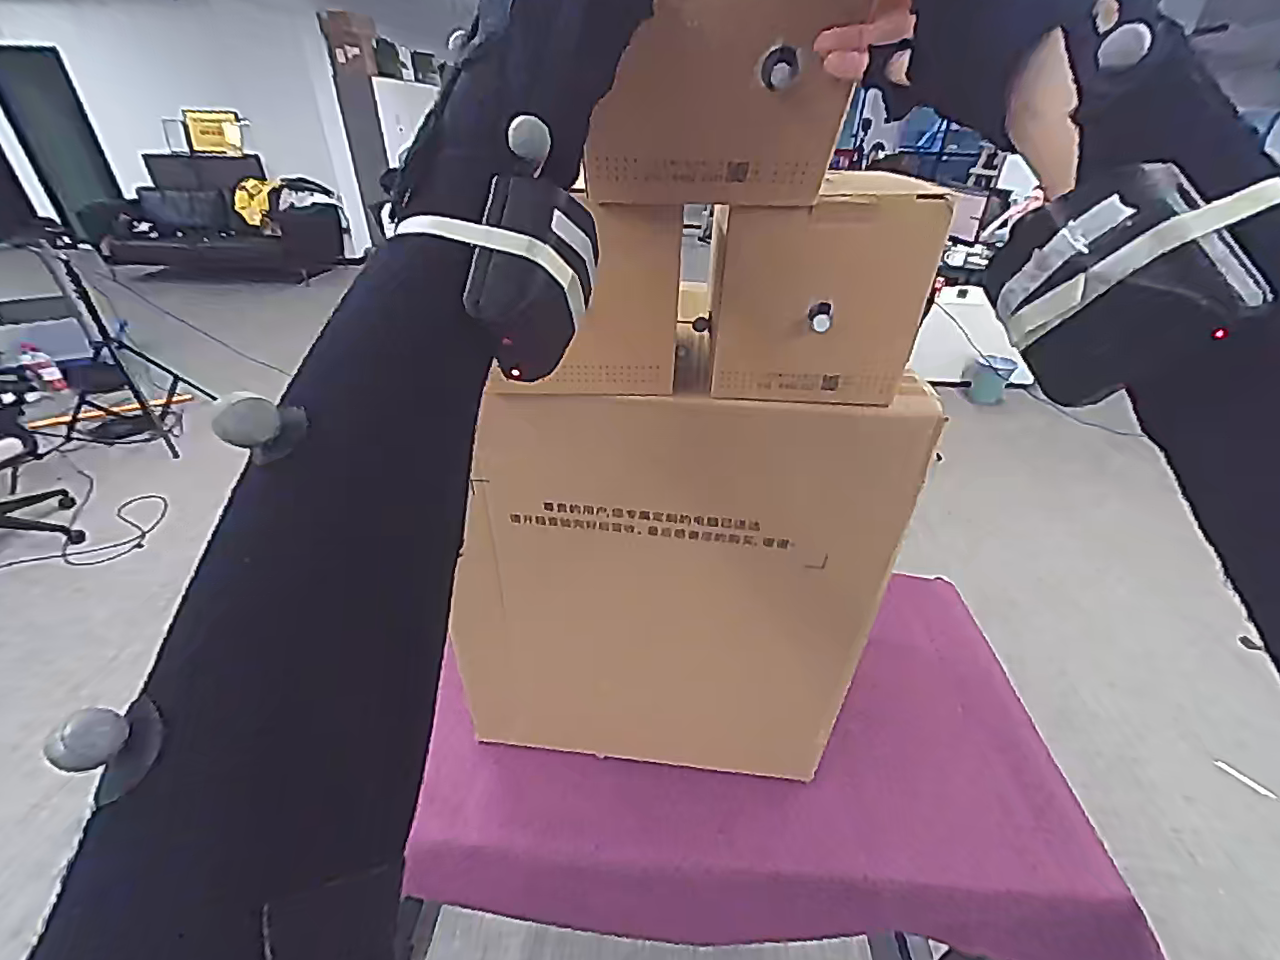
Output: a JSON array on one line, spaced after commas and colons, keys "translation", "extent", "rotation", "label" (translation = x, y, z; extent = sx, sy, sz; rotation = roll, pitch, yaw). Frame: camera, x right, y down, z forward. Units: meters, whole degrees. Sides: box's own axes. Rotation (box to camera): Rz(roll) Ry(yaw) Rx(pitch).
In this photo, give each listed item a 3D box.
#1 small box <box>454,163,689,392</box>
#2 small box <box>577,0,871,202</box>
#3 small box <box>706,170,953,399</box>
[{"translation": [-0.053, -0.191, 0.509], "extent": [0.179, 0.176, 0.168], "rotation": [0, 35, -1], "label": "small box"}, {"translation": [0.049, -0.312, 0.361], "extent": [0.168, 0.176, 0.179], "rotation": [1, 61, -1], "label": "small box"}, {"translation": [0.154, -0.187, 0.510], "extent": [0.168, 0.176, 0.179], "rotation": [3, 35, 2], "label": "small box"}]
